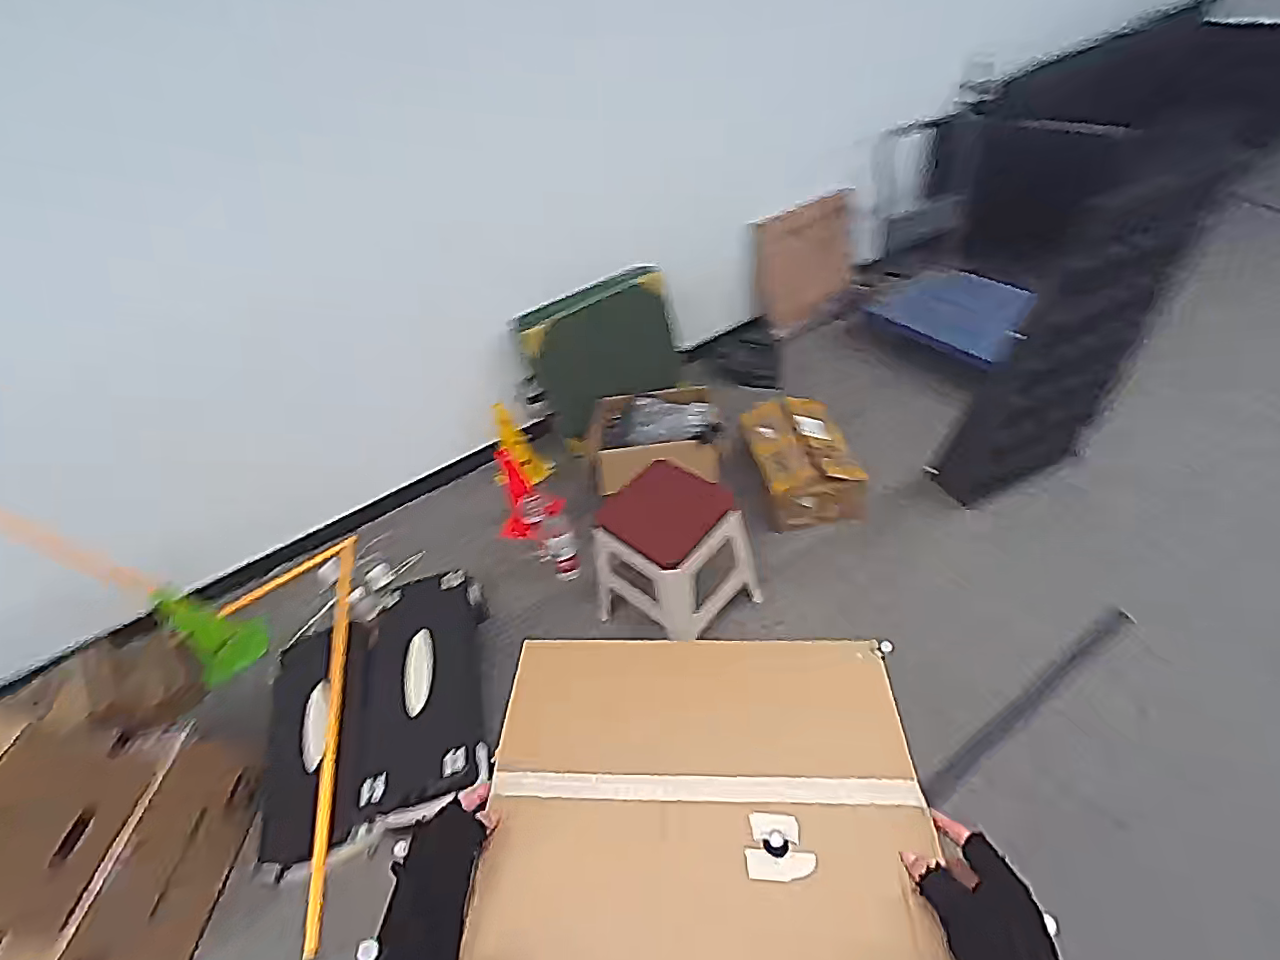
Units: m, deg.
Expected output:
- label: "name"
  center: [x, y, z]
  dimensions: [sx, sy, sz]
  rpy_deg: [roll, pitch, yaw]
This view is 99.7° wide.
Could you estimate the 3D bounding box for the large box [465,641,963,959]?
- label: "large box"
  center: [0.073, 0.405, 0.624]
  dimensions: [0.408, 0.320, 0.320]
  rpy_deg: [-1, 44, 7]
